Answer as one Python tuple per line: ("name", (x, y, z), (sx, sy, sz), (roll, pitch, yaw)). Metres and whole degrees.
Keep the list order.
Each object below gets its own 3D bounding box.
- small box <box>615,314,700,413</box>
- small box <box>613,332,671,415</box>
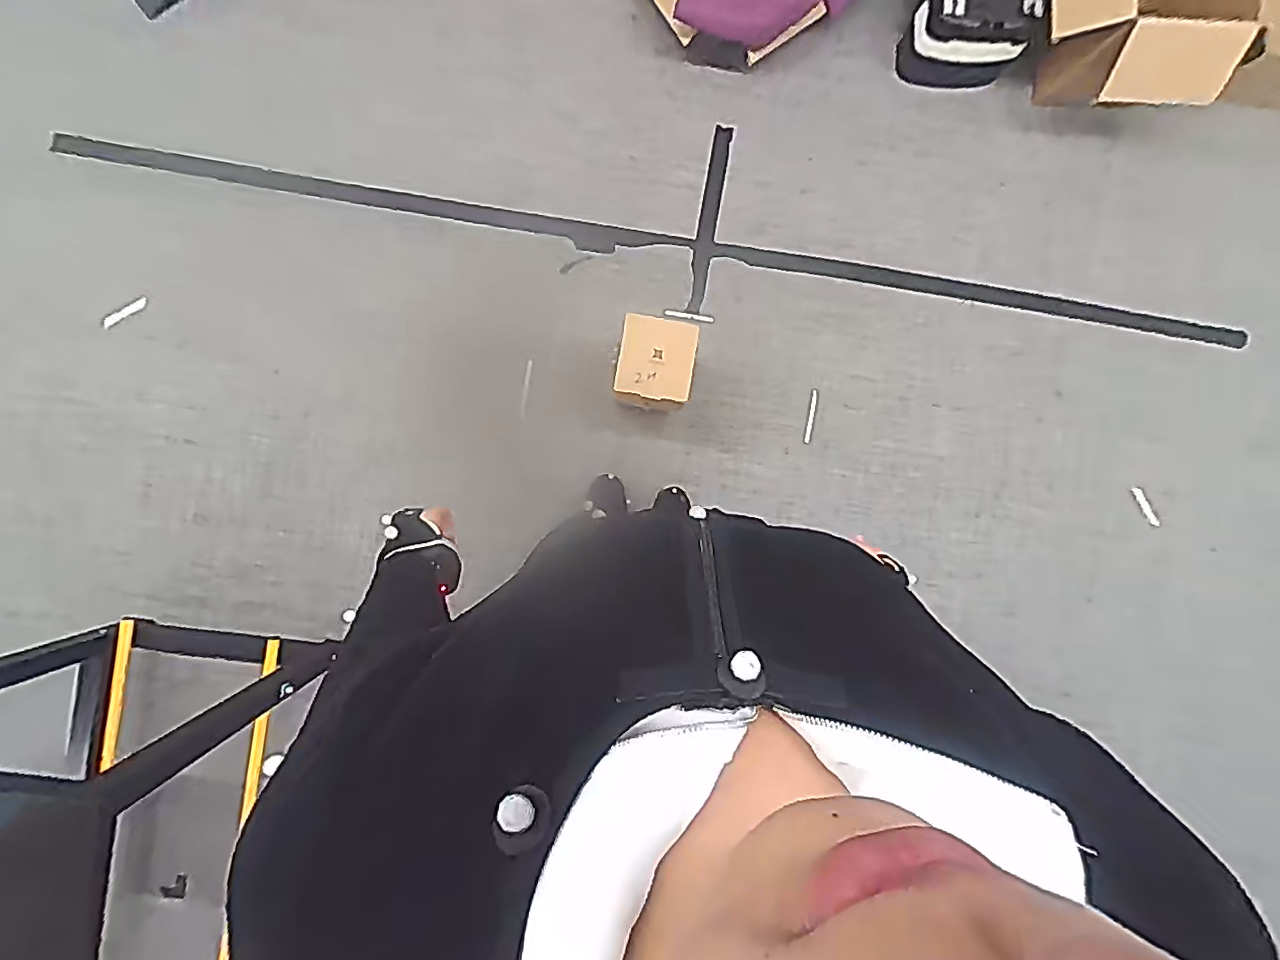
("small box", (0.036, -0.263, 1.257), (0.168, 0.176, 0.179), (10, 91, -1))
("small box", (0.024, -0.276, 1.422), (0.168, 0.176, 0.179), (9, 92, -1))
